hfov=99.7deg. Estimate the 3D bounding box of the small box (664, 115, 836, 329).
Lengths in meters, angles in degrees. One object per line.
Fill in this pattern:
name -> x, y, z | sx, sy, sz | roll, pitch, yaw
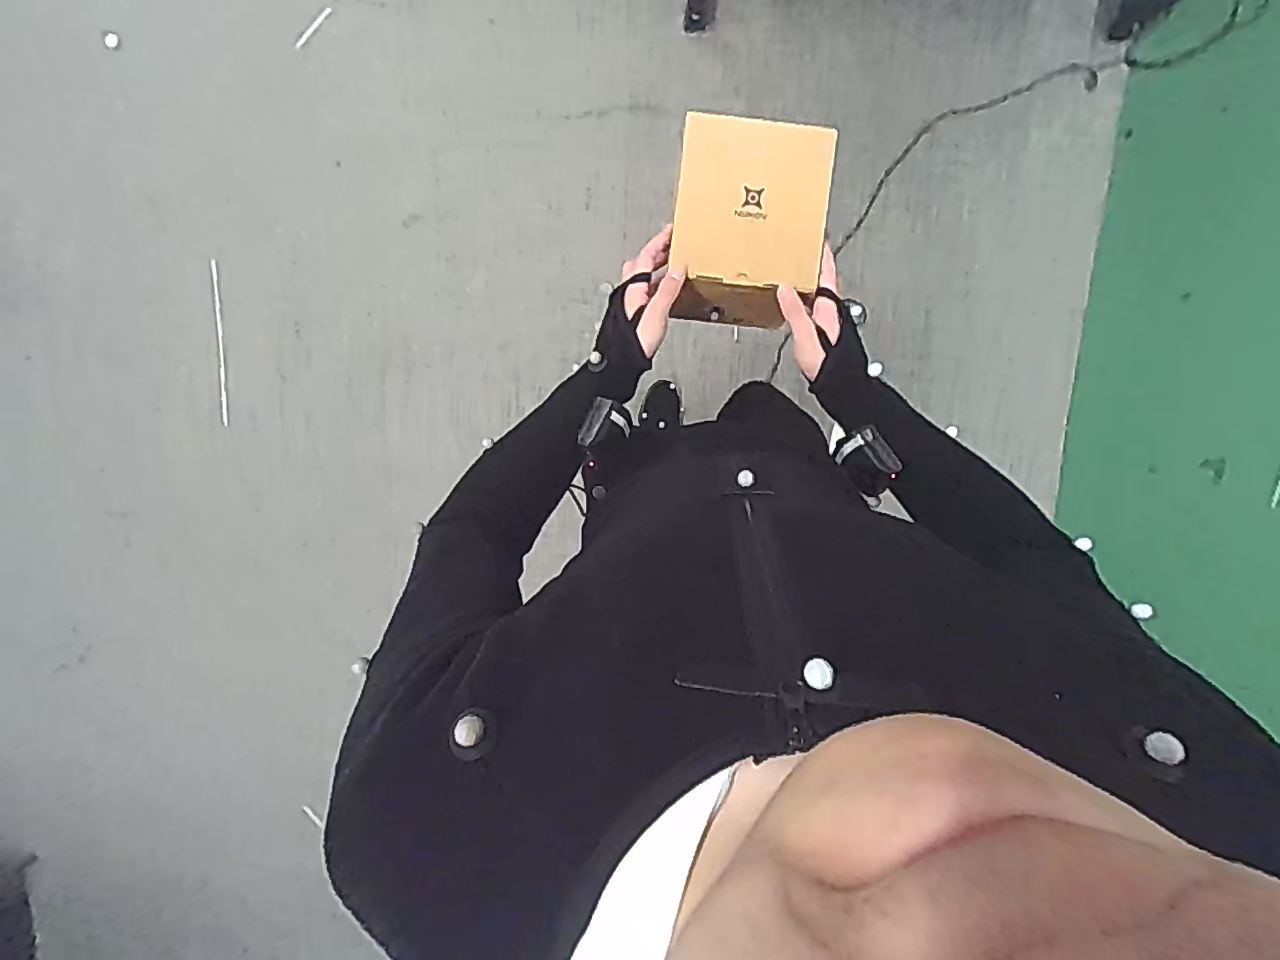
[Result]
small box -> 0.121, -0.300, 0.664 | 0.168, 0.176, 0.179 | 7, 93, -1
